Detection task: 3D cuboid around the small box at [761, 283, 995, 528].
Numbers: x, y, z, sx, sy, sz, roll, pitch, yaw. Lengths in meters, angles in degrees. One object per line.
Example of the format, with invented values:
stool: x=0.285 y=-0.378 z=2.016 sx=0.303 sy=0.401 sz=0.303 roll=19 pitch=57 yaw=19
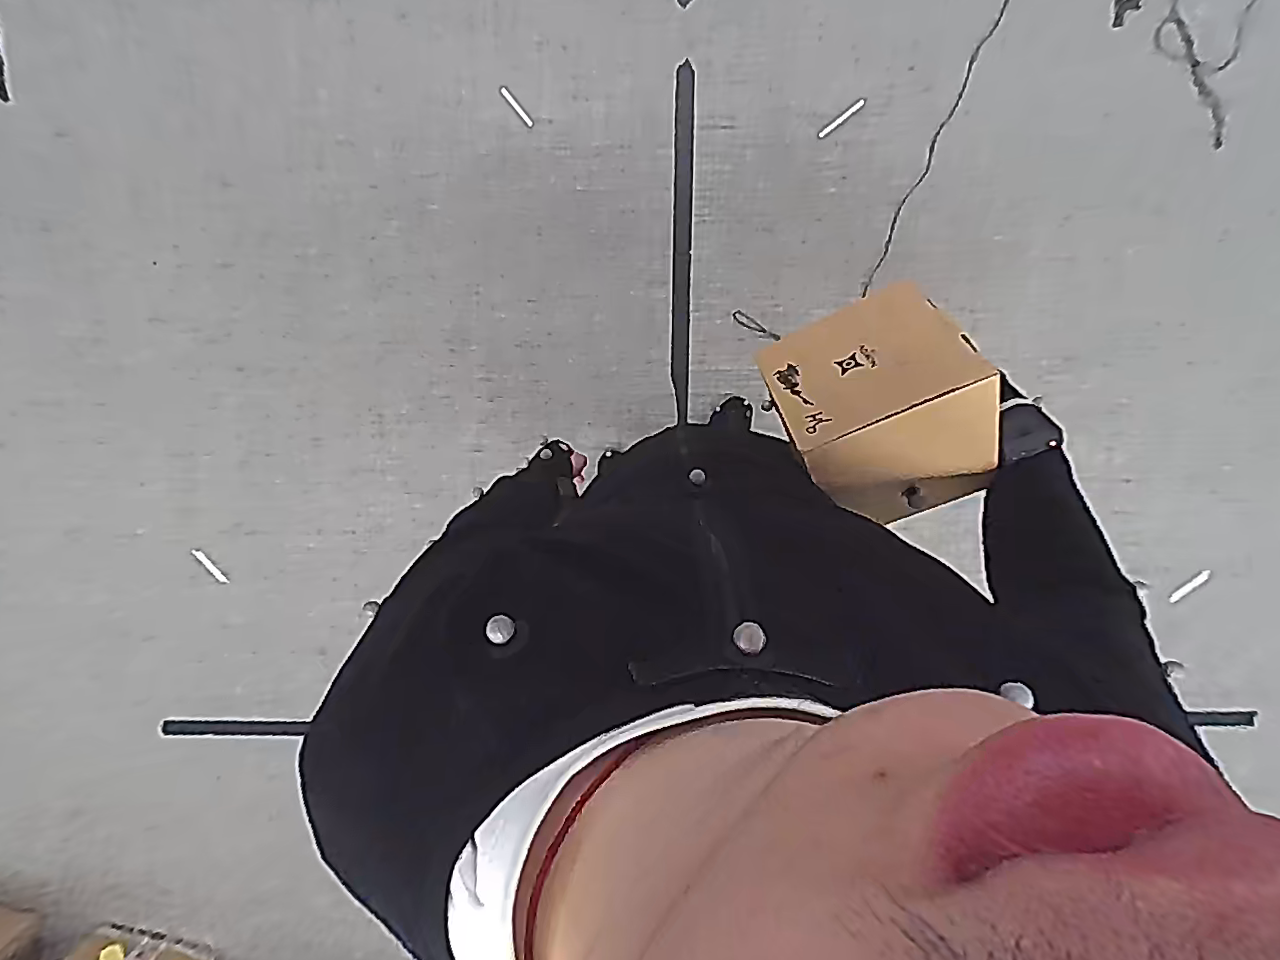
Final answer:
small box: x=0.258 y=-0.076 z=0.601 sx=0.179 sy=0.168 sz=0.176 roll=-23 pitch=135 yaw=14
